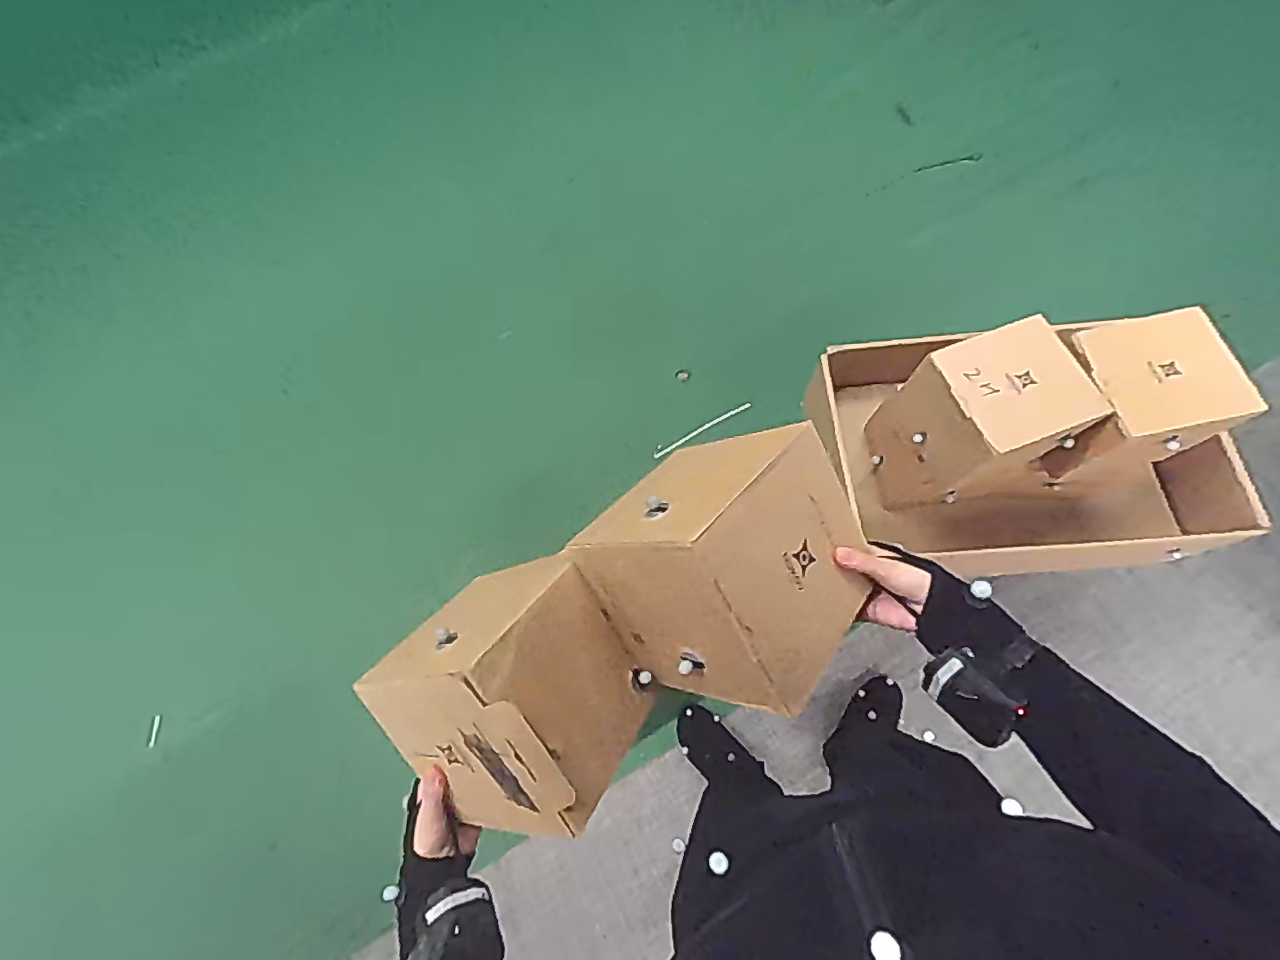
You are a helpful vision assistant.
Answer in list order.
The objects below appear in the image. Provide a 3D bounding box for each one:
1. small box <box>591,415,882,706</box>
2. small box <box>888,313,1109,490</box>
[{"bbox_3d":[0.079,0.066,0.488,0.179,0.176,0.168,-38,107,-36],"label":"small box"},{"bbox_3d":[0.505,-0.106,0.794,0.179,0.176,0.168,-20,70,-4],"label":"small box"}]
